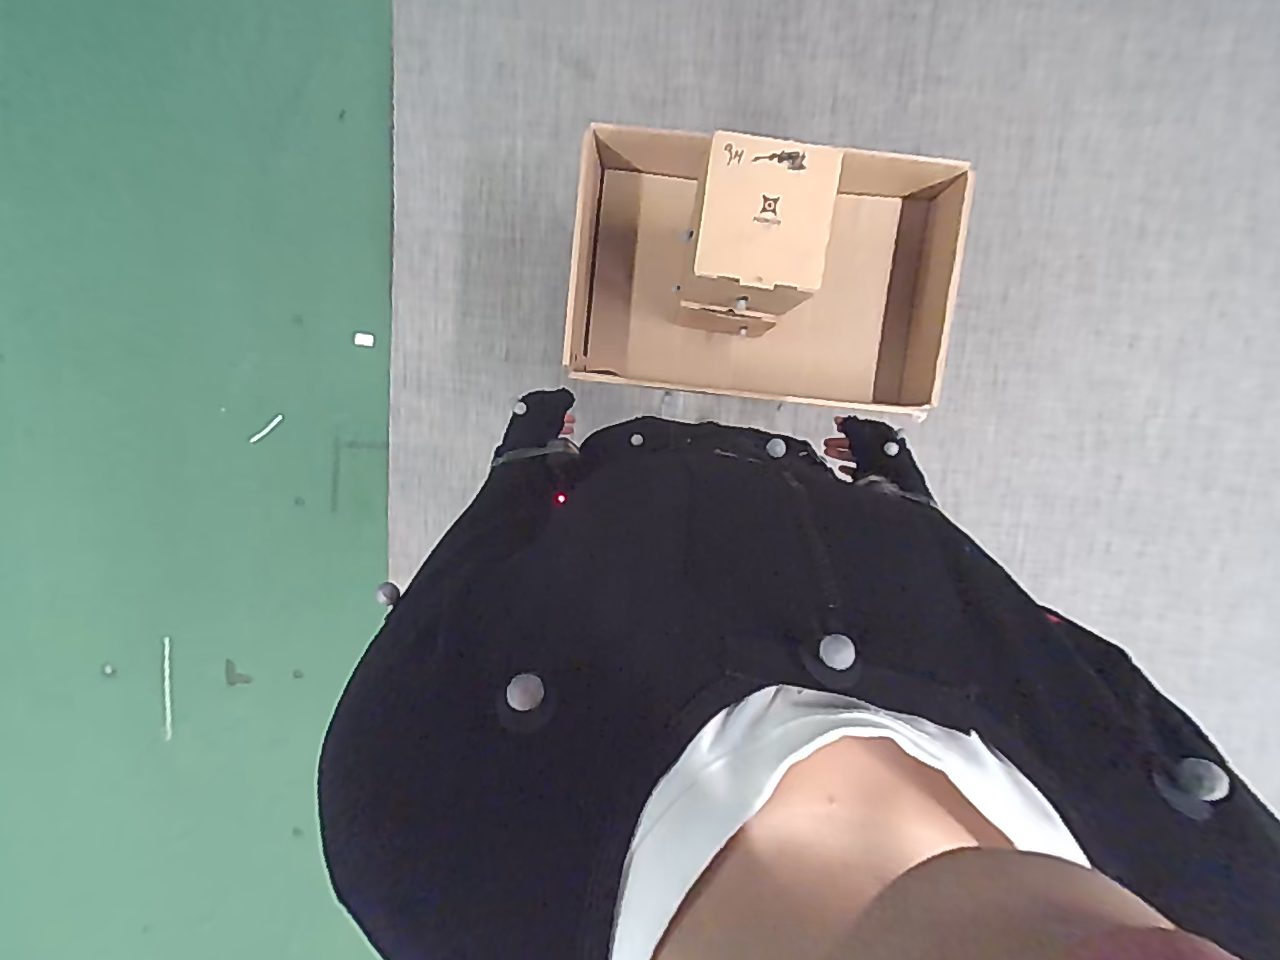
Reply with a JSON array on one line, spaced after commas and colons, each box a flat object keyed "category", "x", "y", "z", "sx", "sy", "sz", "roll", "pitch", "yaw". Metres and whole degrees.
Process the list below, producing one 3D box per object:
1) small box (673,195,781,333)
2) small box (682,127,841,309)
[{"category": "small box", "x": 0.151, "y": -0.358, "z": 0.920, "sx": 0.168, "sy": 0.176, "sz": 0.179, "roll": 8, "pitch": 95, "yaw": -2}, {"category": "small box", "x": 0.155, "y": -0.348, "z": 0.756, "sx": 0.168, "sy": 0.176, "sz": 0.179, "roll": 8, "pitch": 98, "yaw": -3}]
